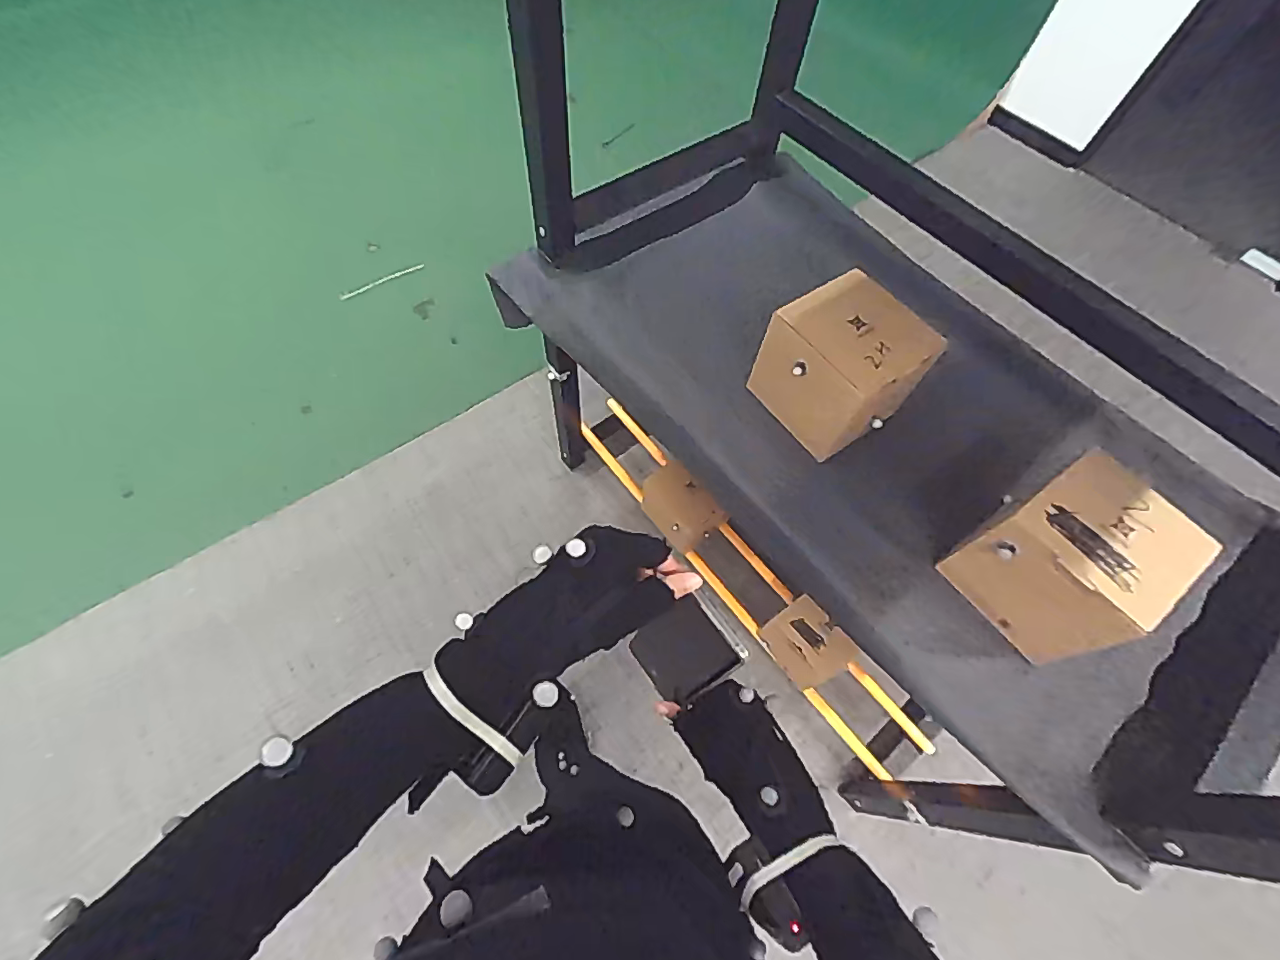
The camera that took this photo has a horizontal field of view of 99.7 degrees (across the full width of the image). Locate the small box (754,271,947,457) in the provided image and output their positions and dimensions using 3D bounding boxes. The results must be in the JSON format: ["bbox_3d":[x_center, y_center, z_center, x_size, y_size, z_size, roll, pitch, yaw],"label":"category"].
[{"bbox_3d":[0.294,-0.166,0.801,0.168,0.176,0.179,-32,68,-18],"label":"small box"}]

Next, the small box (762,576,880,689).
[{"bbox_3d":[0.400,0.354,1.237,0.179,0.176,0.168,-31,68,-18],"label":"small box"}]
